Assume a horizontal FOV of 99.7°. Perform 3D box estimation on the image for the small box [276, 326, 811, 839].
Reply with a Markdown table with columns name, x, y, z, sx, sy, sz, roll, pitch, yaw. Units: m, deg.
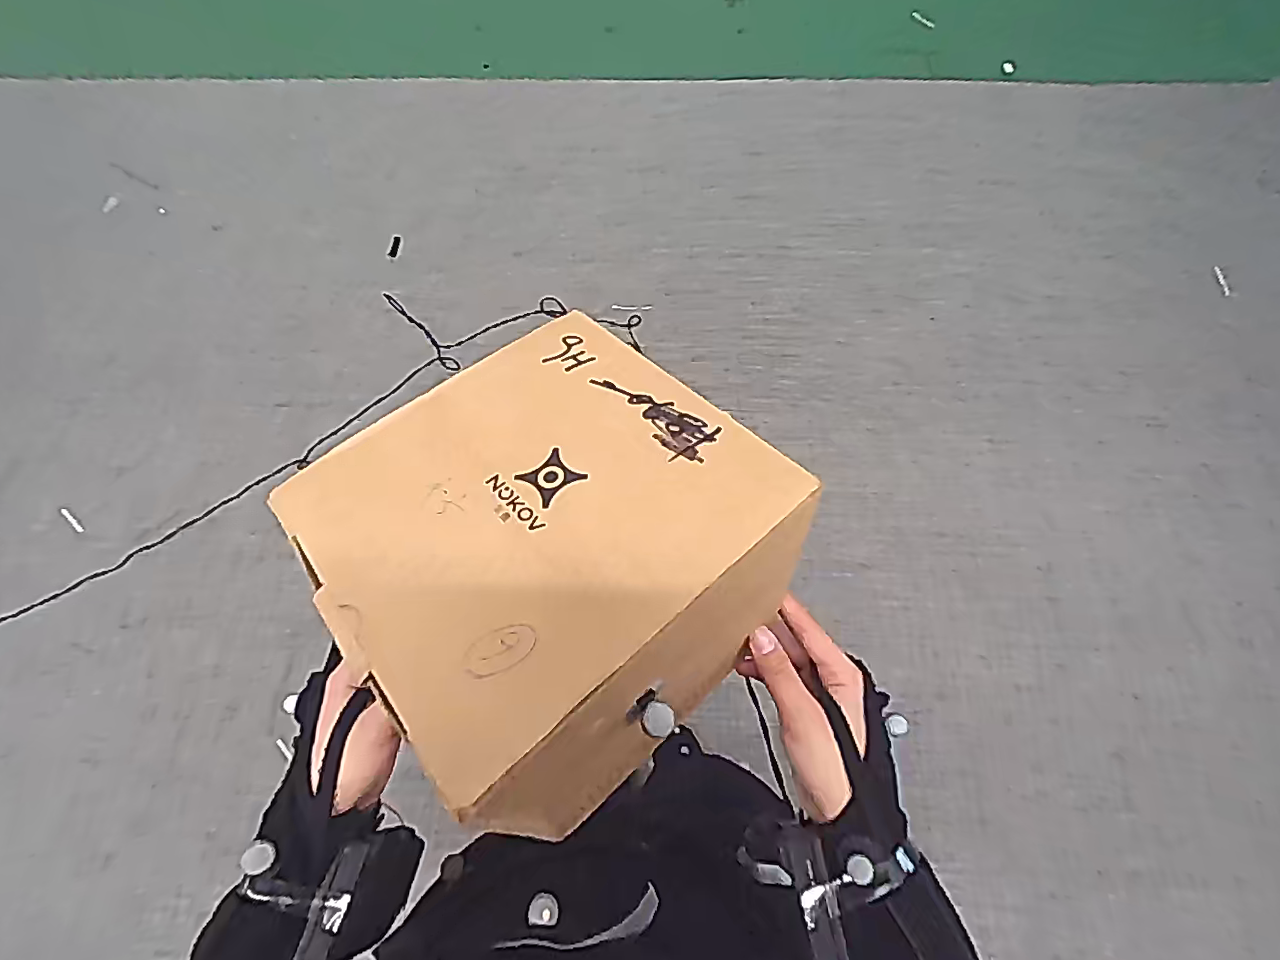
| name | x | y | z | sx | sy | sz | roll | pitch | yaw |
| --- | --- | --- | --- | --- | --- | --- | --- | --- | --- |
| small box | -0.038 | 0.058 | 0.291 | 0.179 | 0.176 | 0.168 | -37 | 59 | -20 |
